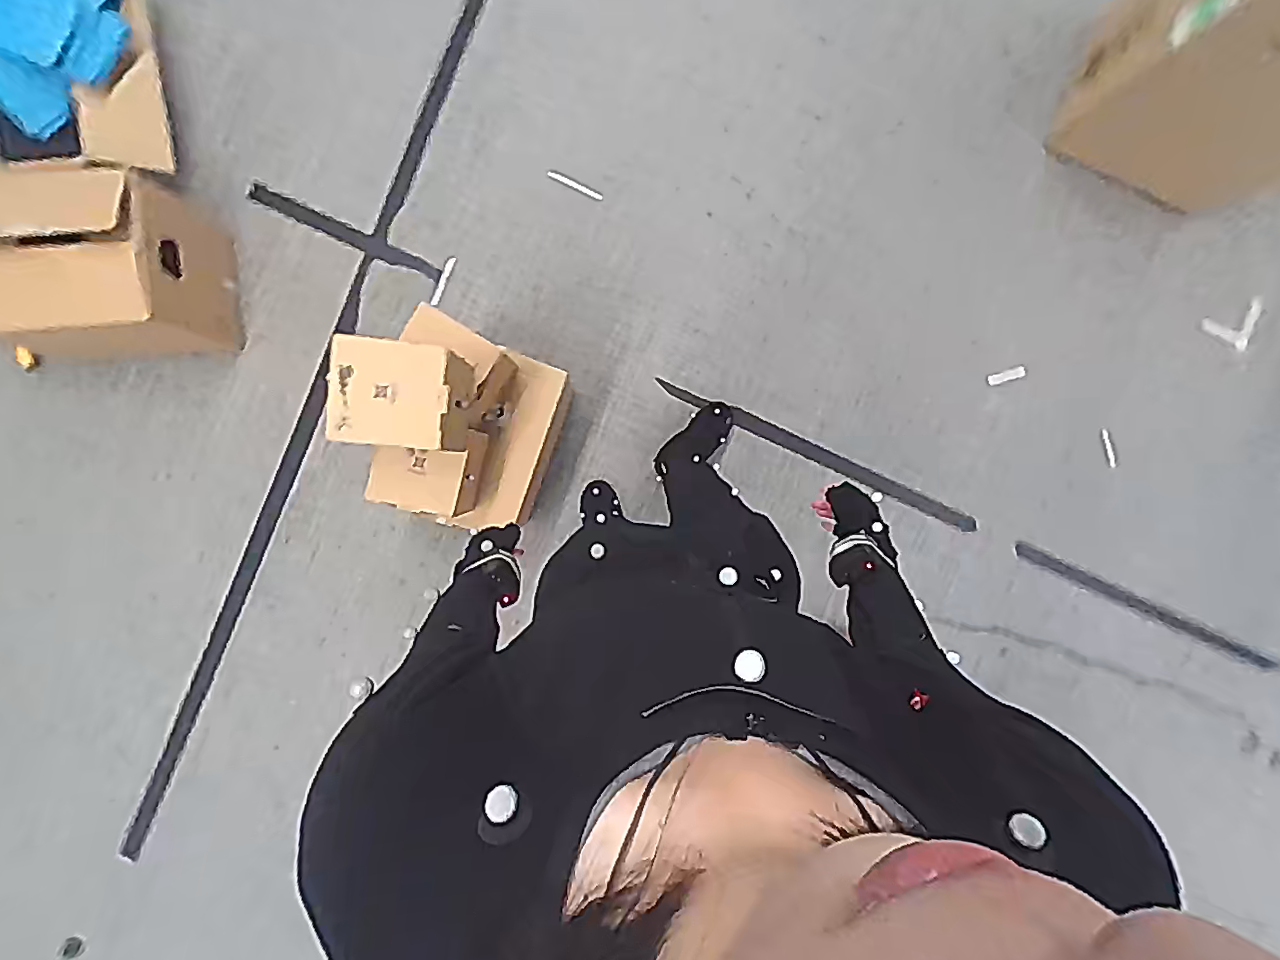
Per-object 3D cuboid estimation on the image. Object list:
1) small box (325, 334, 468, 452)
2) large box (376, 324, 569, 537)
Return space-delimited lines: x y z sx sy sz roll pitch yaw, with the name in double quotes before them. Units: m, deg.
"small box" -0.399 -0.139 0.916 0.179 0.176 0.168 5 92 -6
"large box" -0.385 -0.108 1.327 0.320 0.320 0.408 18 90 -6
